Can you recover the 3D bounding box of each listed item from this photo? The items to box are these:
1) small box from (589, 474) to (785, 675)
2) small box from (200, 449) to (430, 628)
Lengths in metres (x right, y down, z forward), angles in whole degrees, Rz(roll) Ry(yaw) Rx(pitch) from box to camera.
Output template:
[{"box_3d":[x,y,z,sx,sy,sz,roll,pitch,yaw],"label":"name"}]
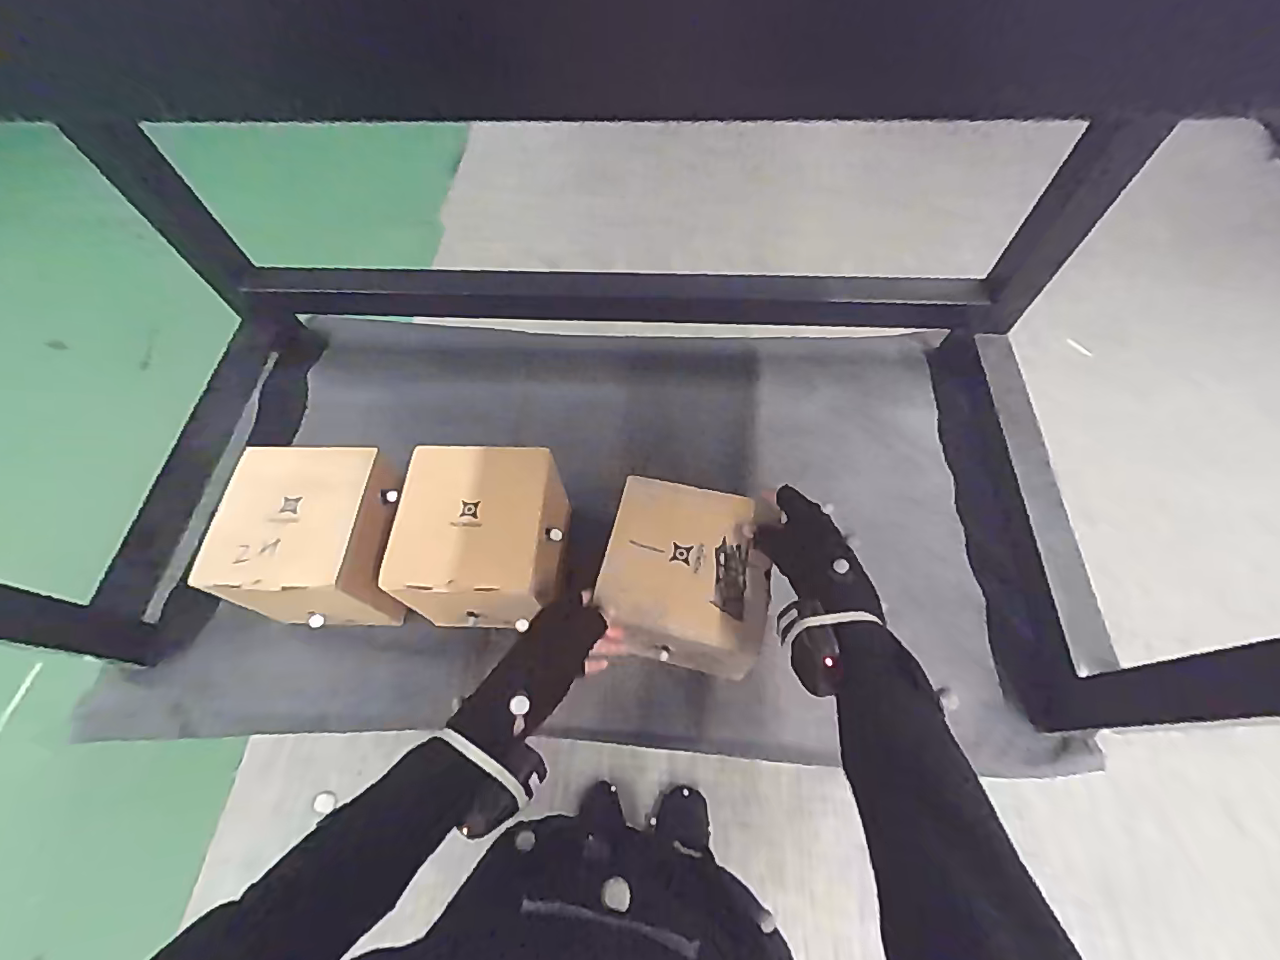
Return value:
[{"box_3d":[0.058,0.119,0.639,0.179,0.176,0.168,13,62,12],"label":"small box"},{"box_3d":[-0.386,0.078,0.686,0.168,0.176,0.179,0,61,3],"label":"small box"}]
